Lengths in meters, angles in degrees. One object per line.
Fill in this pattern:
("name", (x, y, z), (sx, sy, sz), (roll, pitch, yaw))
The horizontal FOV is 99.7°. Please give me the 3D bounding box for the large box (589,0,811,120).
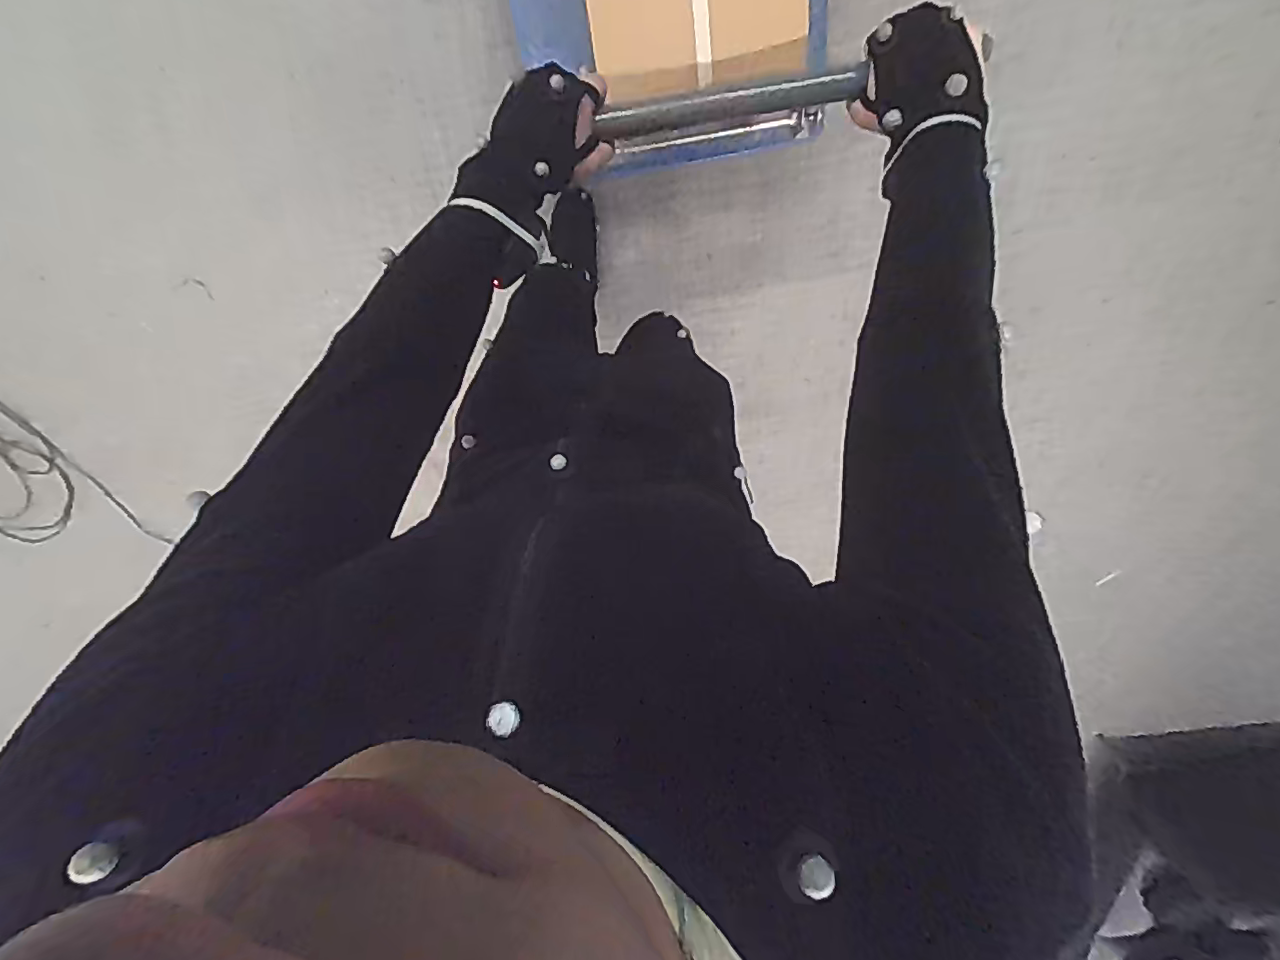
("large box", (0.072, -0.835, 0.844), (0.320, 0.320, 0.408), (-7, 120, 3))
